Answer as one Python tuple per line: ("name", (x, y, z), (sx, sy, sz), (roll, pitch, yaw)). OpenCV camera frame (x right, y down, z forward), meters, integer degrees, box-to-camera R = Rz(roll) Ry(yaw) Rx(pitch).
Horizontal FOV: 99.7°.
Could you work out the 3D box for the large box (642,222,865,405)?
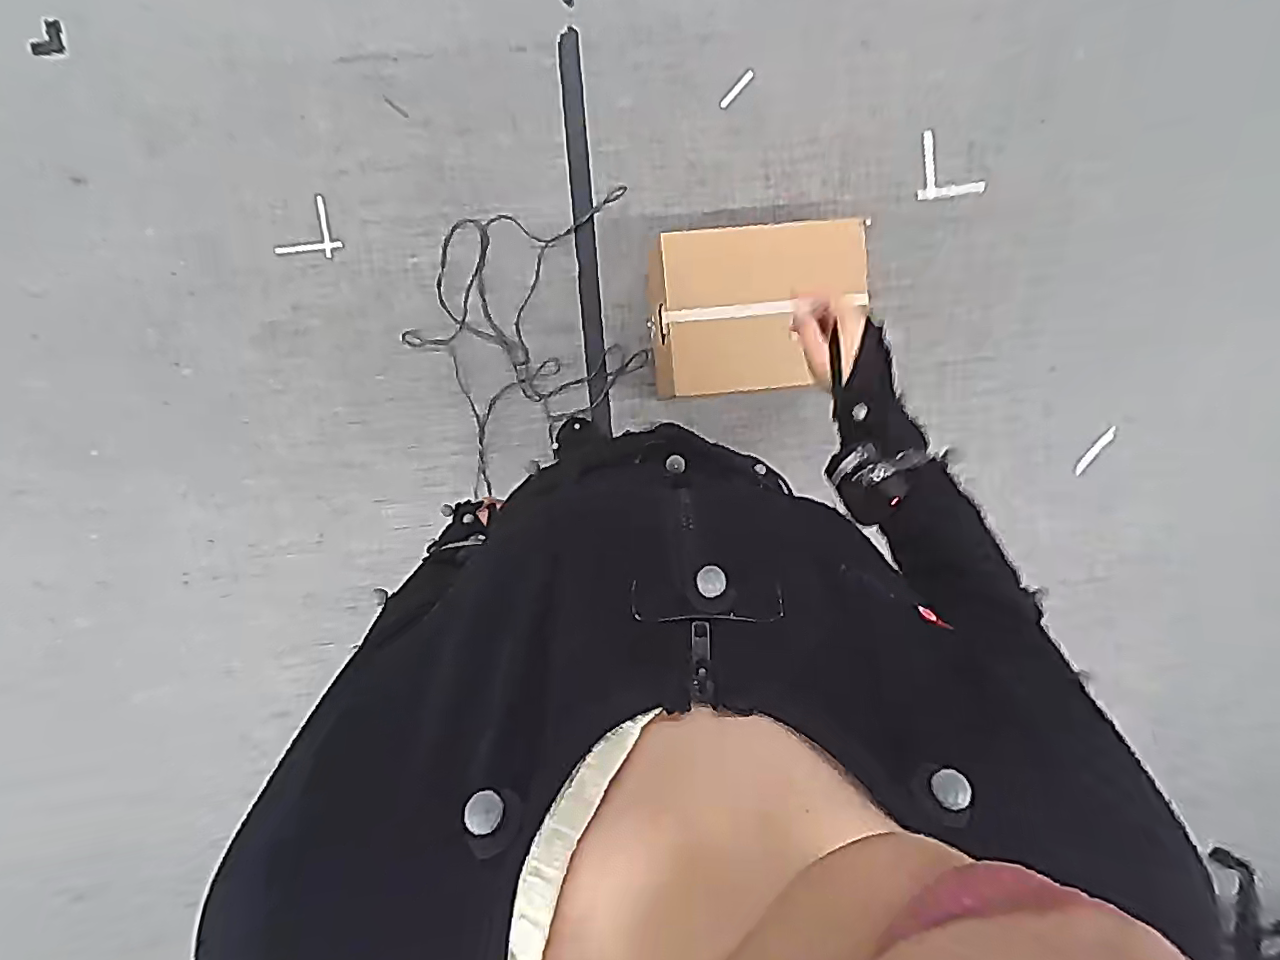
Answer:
("large box", (0.231, -0.349, 1.212), (0.408, 0.320, 0.320), (-7, 98, -4))
